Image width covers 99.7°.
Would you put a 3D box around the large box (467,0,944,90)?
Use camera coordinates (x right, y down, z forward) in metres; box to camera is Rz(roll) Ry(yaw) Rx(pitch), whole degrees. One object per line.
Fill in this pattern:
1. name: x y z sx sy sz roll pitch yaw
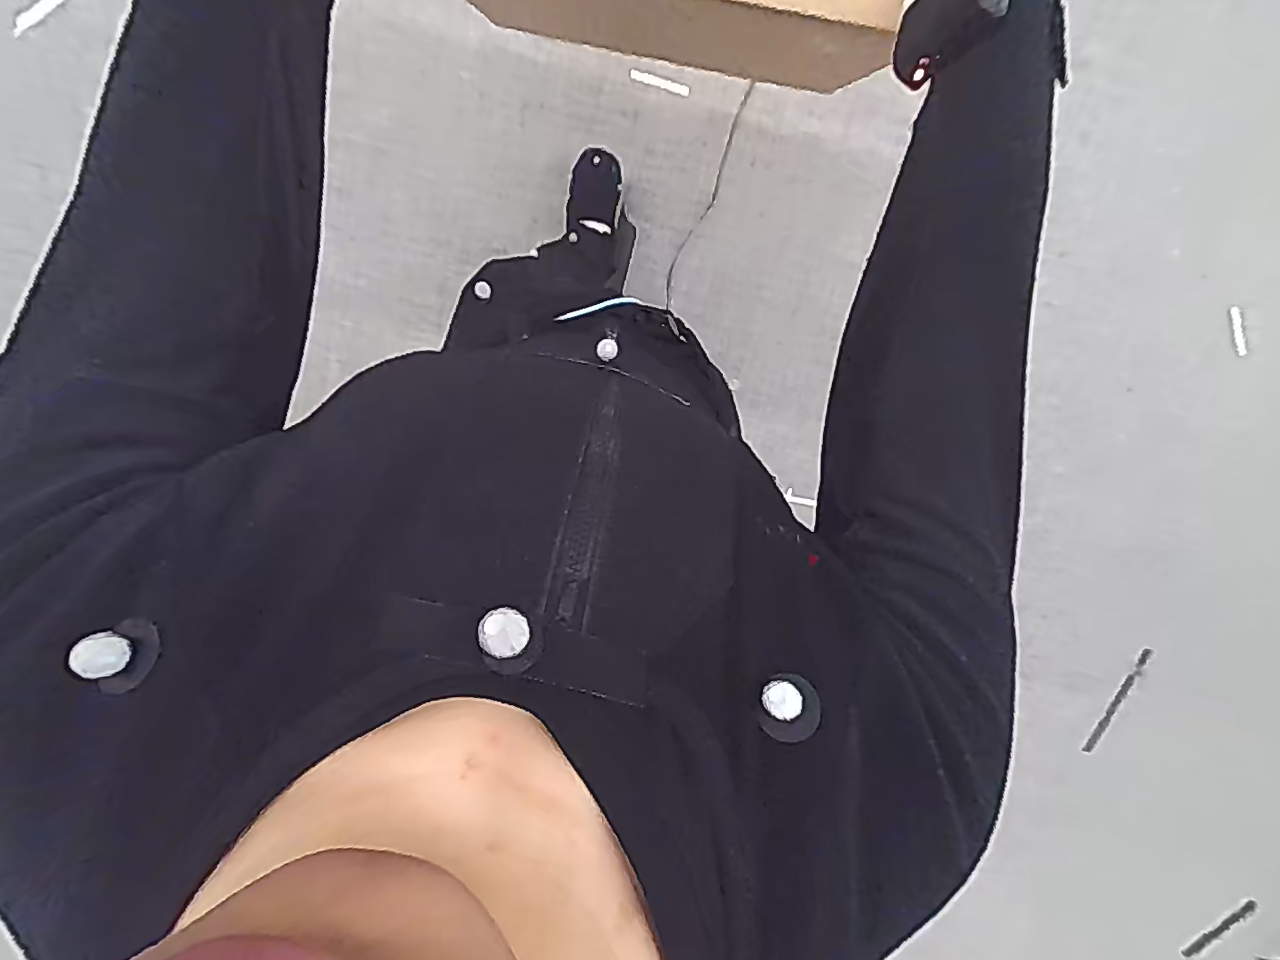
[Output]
1. large box: 0.045 -0.558 0.446 0.408 0.320 0.320 9 121 -3
